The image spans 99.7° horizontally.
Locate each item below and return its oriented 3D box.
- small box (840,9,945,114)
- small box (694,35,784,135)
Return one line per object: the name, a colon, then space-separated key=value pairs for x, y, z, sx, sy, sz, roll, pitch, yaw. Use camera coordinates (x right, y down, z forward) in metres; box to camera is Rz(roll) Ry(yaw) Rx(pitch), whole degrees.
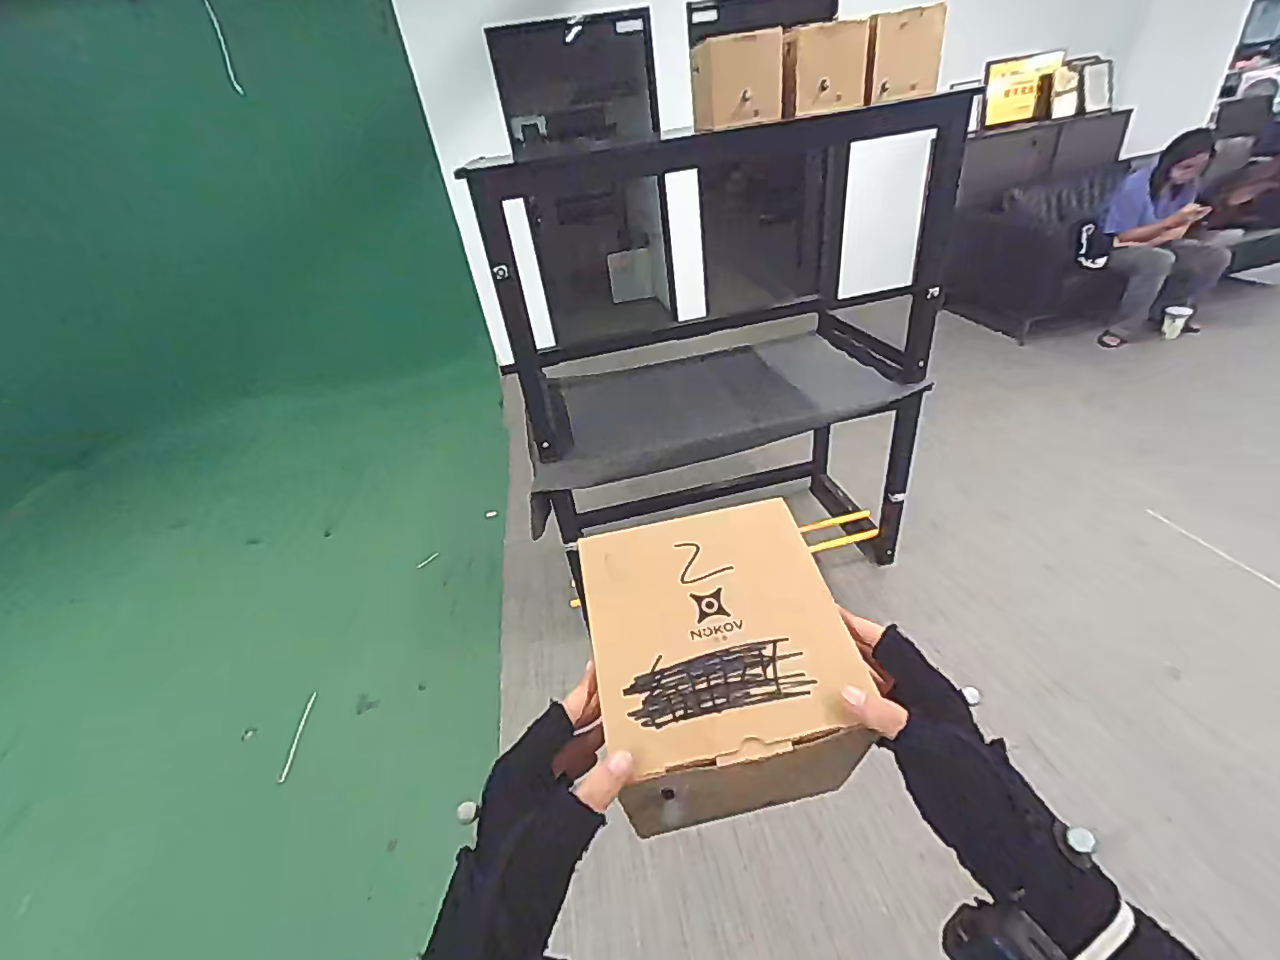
small box: x=0.601 y=-1.002 z=1.308 sx=0.168 sy=0.176 sz=0.179 roll=-11 pitch=32 yaw=-3
small box: x=0.229 y=-0.924 z=1.278 sx=0.168 sy=0.176 sz=0.179 roll=-11 pitch=33 yaw=-4
